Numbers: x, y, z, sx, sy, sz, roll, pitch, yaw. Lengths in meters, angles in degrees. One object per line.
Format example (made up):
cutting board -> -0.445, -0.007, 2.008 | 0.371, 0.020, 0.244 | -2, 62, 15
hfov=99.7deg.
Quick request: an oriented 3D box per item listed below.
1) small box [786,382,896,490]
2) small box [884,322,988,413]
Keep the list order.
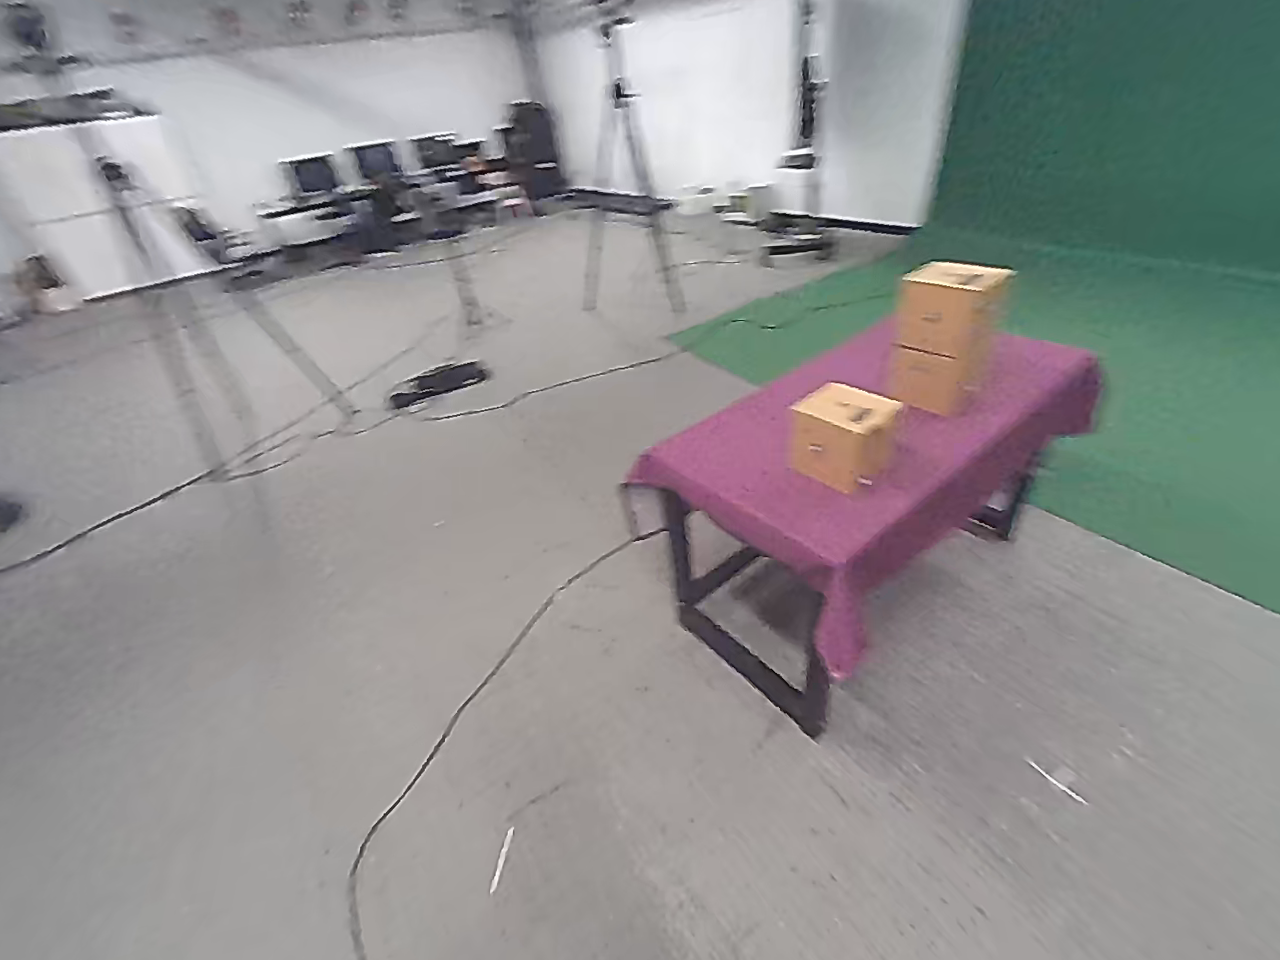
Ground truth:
small box -> 0.456, -0.099, 1.247 | 0.168, 0.176, 0.179 | -31, 41, -27
small box -> 0.783, -0.302, 1.449 | 0.168, 0.176, 0.179 | -29, 41, -24
